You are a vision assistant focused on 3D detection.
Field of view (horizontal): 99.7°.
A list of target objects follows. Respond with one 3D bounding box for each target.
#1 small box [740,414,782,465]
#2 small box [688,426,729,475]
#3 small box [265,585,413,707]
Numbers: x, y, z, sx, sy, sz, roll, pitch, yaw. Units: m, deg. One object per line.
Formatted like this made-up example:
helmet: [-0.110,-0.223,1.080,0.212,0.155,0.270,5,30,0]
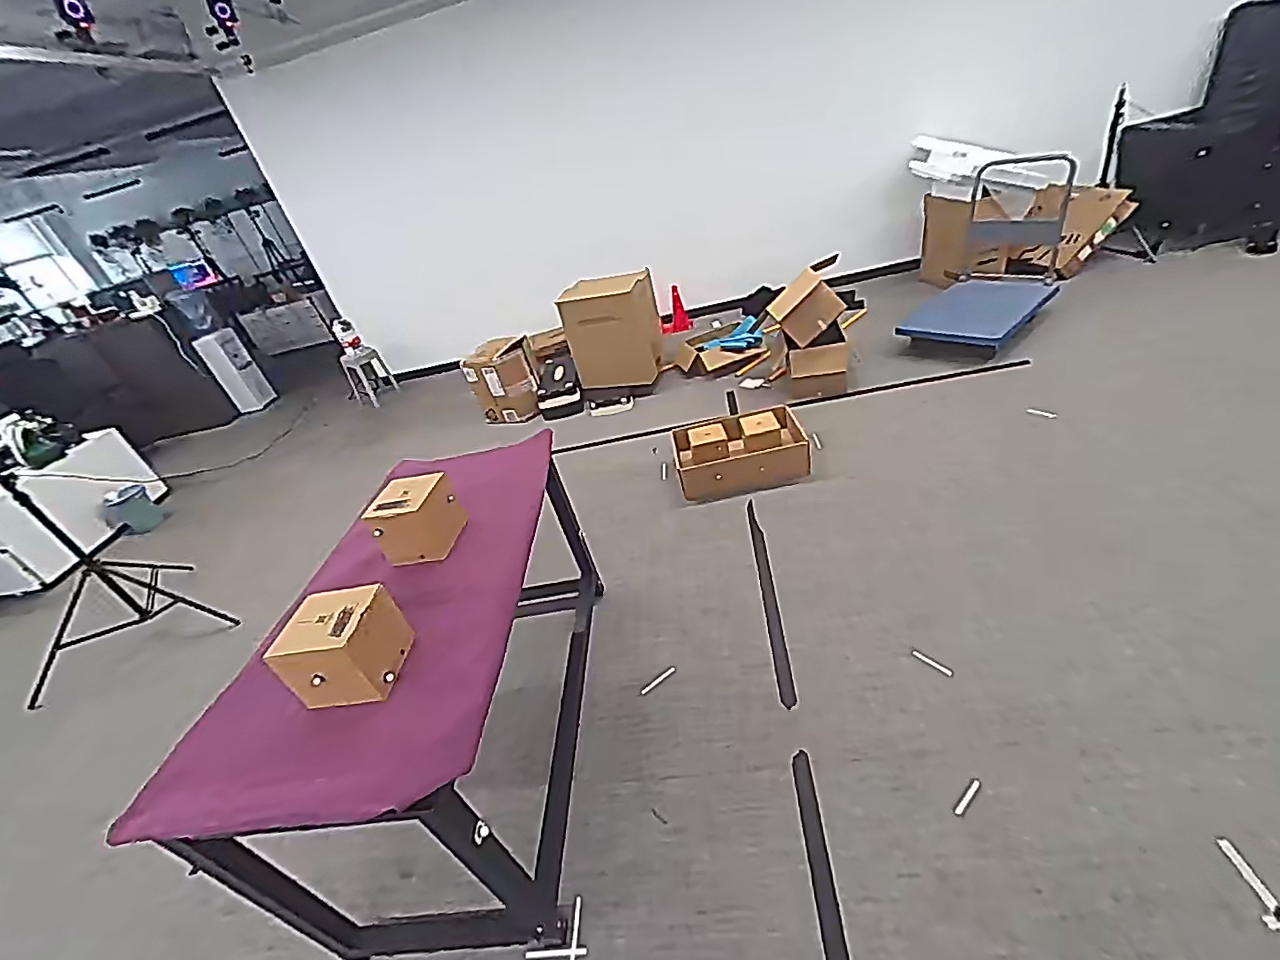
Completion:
small box: [0.599,-0.200,2.681,0.168,0.176,0.179,-13,33,6]
small box: [0.346,-0.146,2.703,0.179,0.176,0.168,-12,32,3]
small box: [-0.605,0.344,1.117,0.179,0.176,0.168,-10,33,9]
